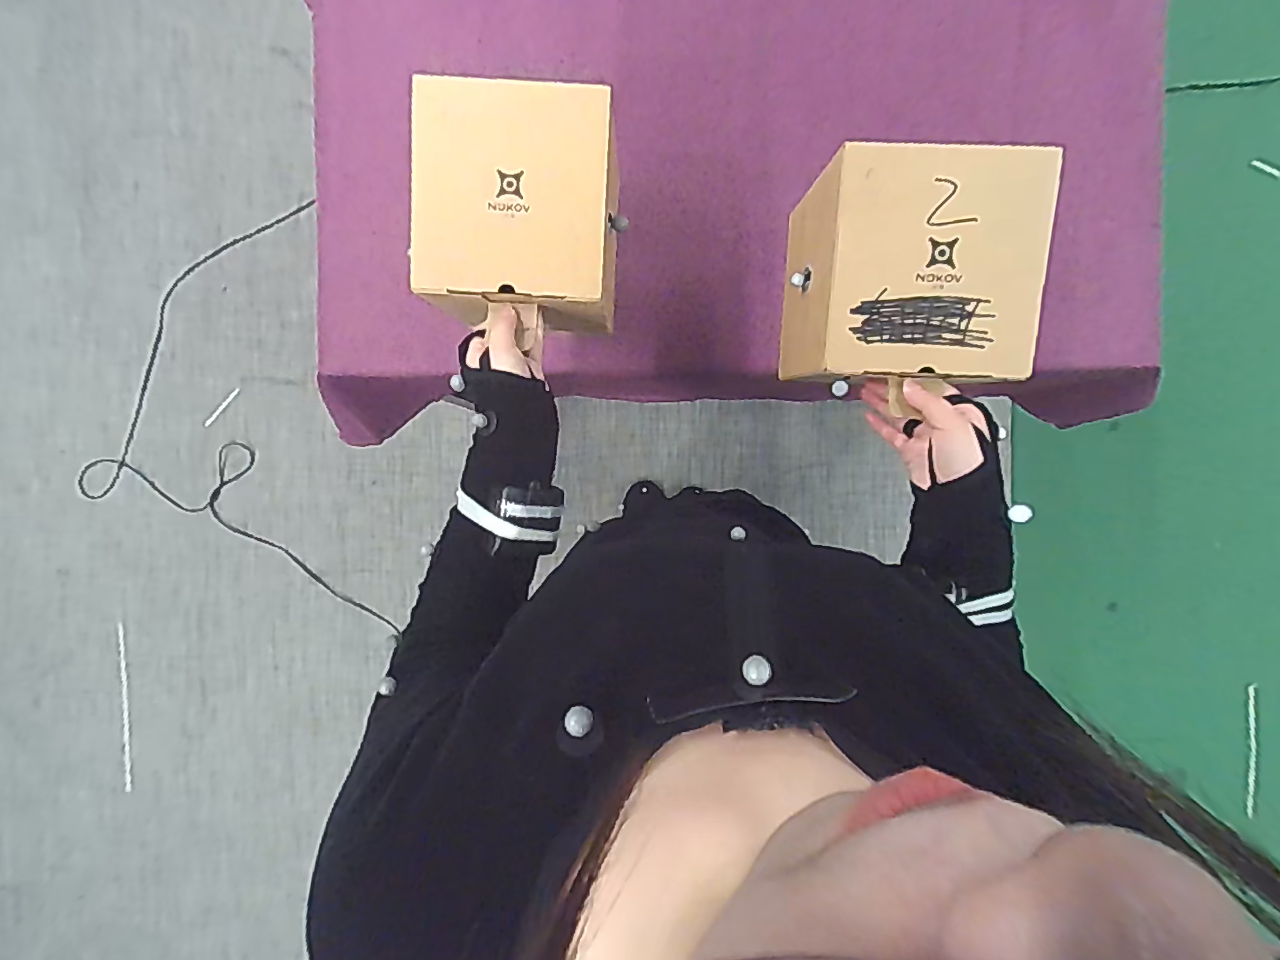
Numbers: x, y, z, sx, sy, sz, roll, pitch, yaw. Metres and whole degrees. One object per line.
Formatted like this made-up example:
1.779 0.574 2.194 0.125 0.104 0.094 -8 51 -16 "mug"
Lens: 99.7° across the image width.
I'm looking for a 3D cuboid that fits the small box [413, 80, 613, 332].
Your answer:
-0.115 -0.258 0.549 0.168 0.176 0.179 3 96 -1 "small box"
